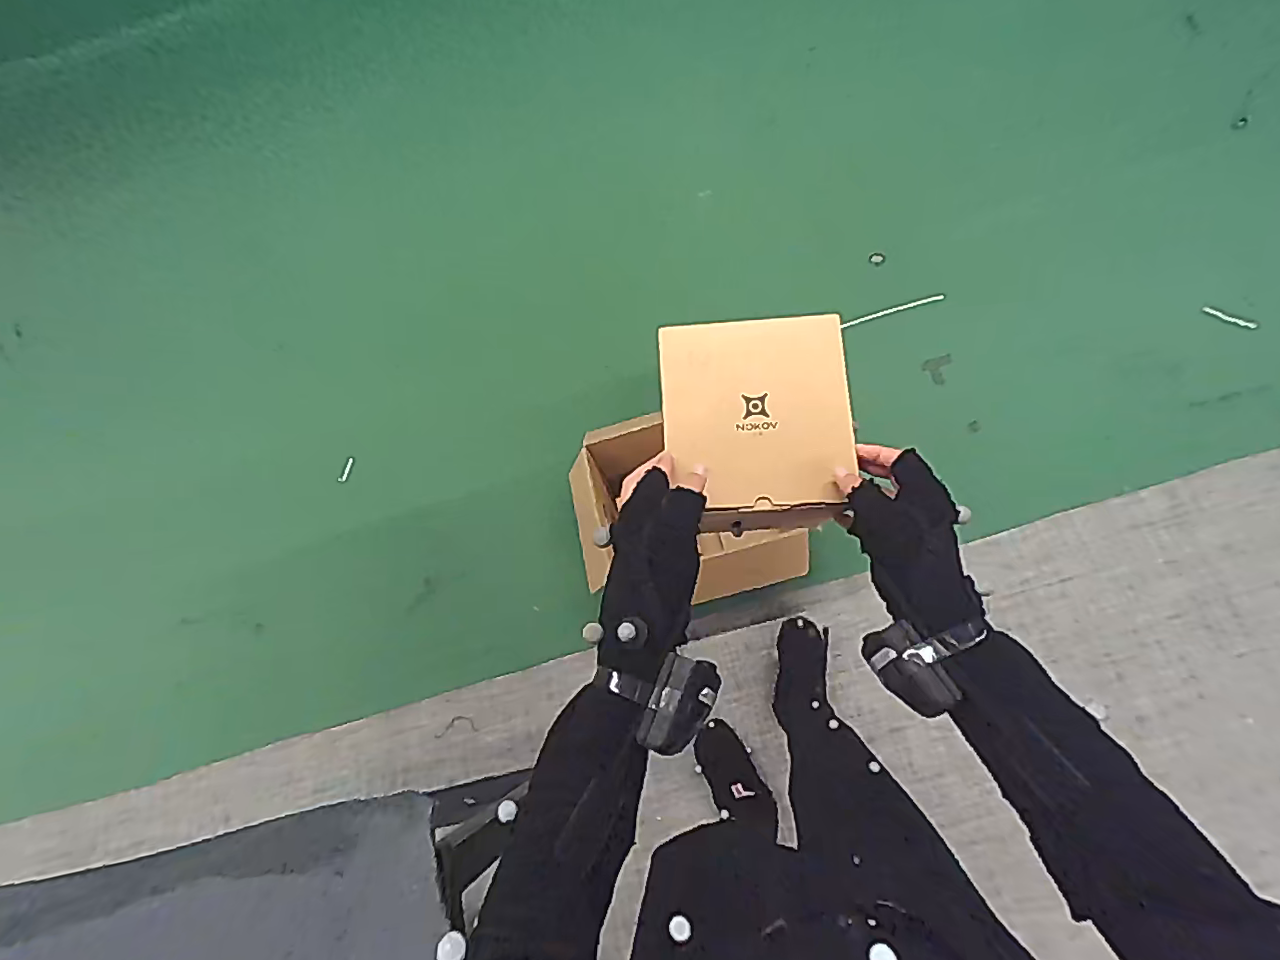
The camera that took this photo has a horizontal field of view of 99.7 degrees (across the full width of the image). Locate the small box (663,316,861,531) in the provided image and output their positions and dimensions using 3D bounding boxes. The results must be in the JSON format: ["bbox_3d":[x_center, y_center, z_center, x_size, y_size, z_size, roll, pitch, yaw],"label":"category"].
[{"bbox_3d":[0.109,-0.046,0.559,0.168,0.176,0.179,-4,79,4],"label":"small box"}]
